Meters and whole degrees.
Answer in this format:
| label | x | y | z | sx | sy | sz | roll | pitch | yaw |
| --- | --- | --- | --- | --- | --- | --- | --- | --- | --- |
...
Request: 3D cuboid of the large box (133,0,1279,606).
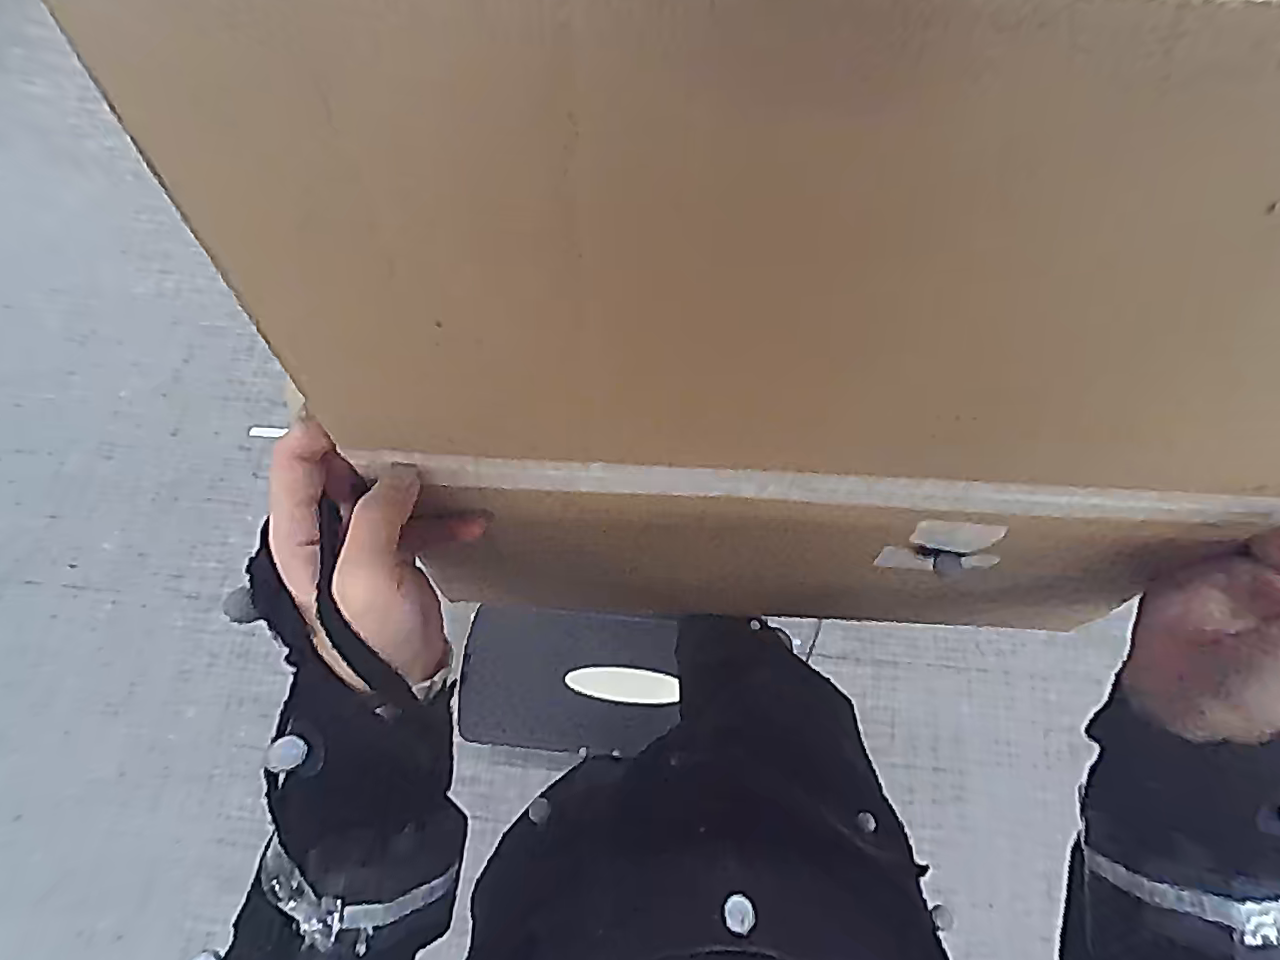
| label | x | y | z | sx | sy | sz | roll | pitch | yaw |
| --- | --- | --- | --- | --- | --- | --- | --- | --- | --- |
| large box | 0.083 | -0.130 | 0.323 | 0.408 | 0.320 | 0.320 | 2 | 56 | -1 |
